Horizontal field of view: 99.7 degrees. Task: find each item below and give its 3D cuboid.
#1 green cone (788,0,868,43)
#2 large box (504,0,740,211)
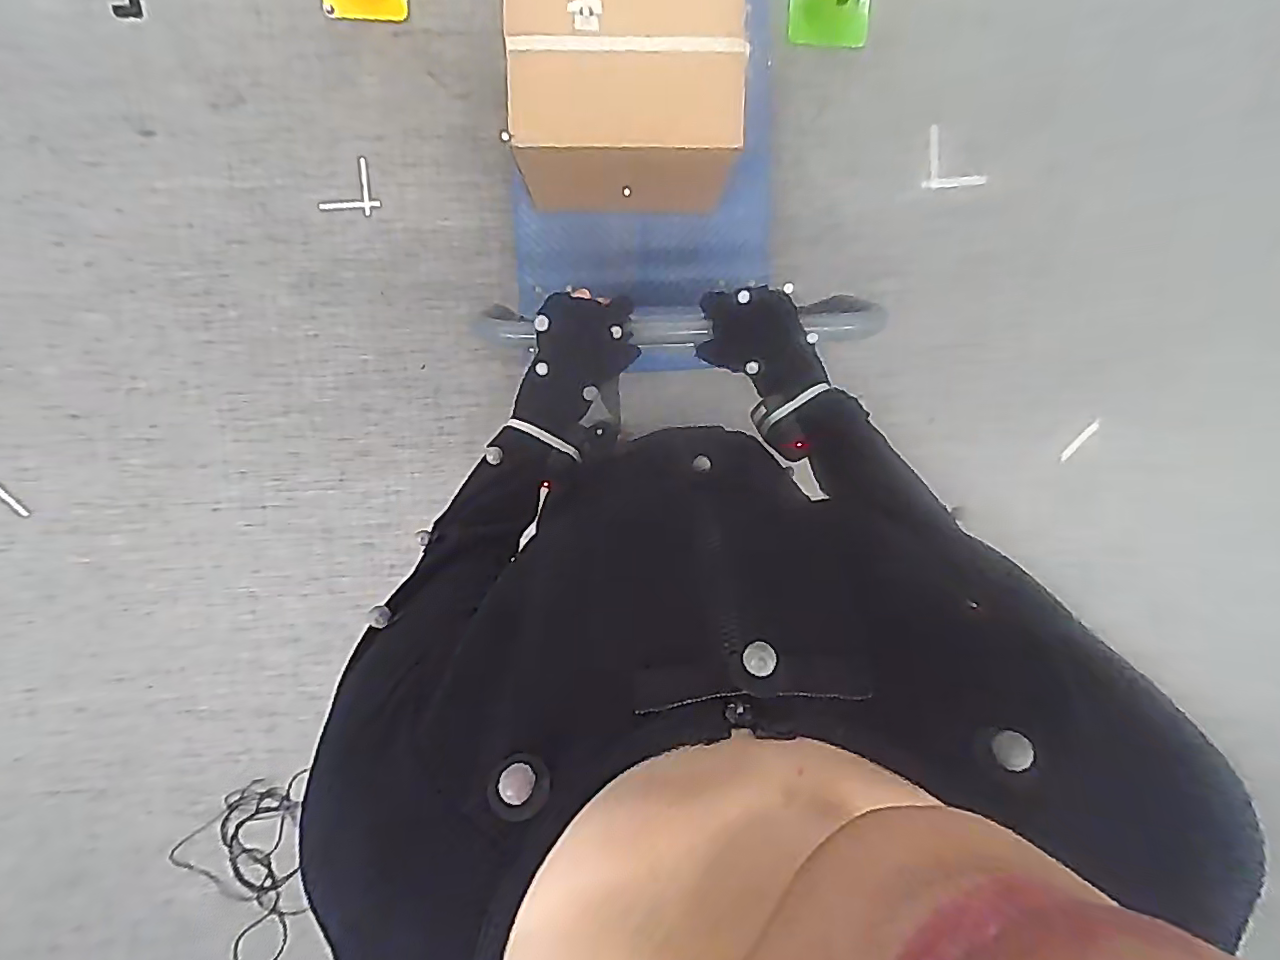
[{"bbox_3d":[0.478,-1.176,1.170,0.202,0.368,0.200,1,97,-3],"label":"green cone"},{"bbox_3d":[-0.029,-0.743,1.062,0.408,0.320,0.320,-1,97,-1],"label":"large box"}]
